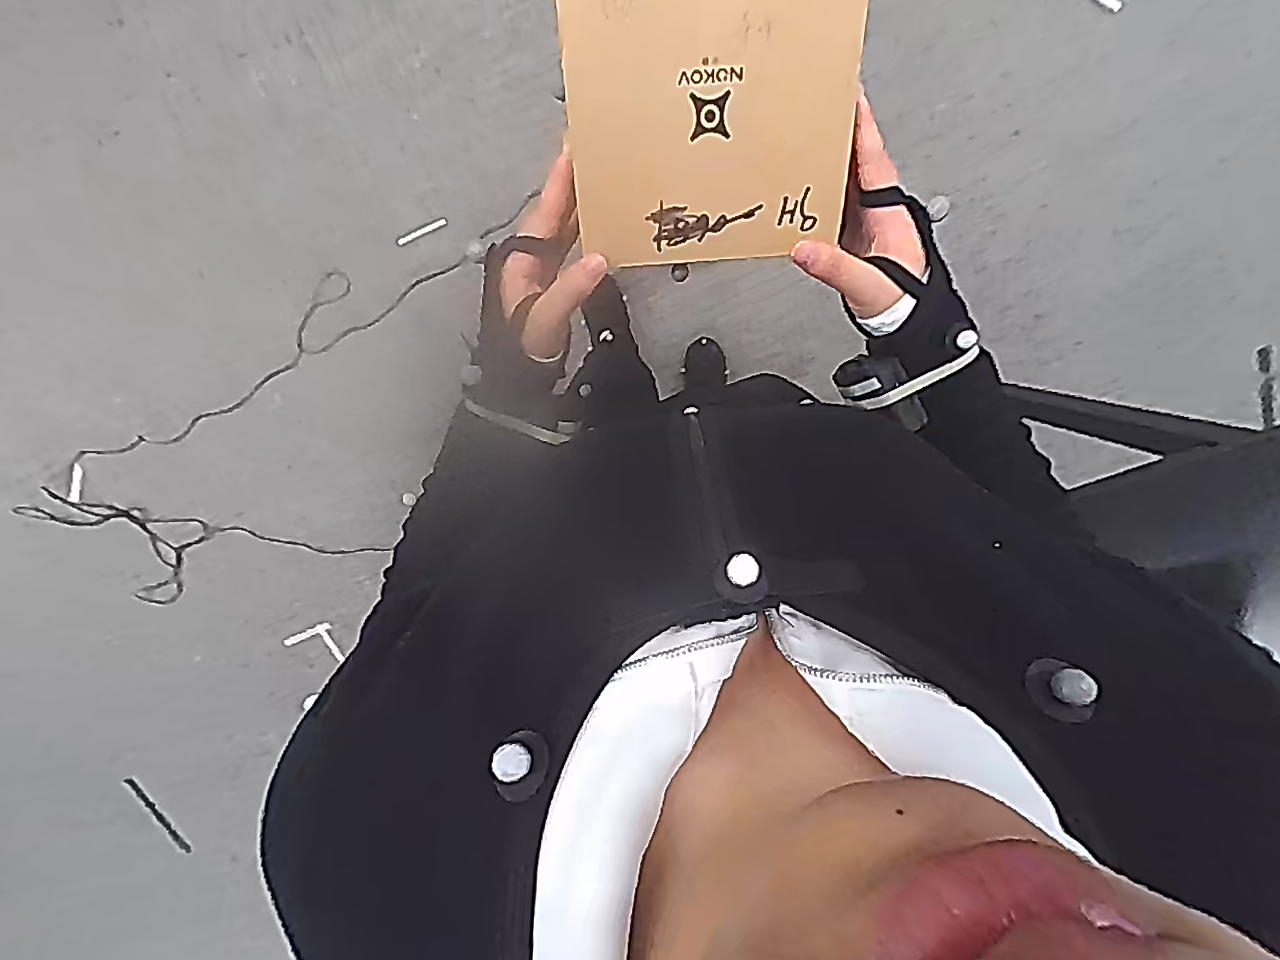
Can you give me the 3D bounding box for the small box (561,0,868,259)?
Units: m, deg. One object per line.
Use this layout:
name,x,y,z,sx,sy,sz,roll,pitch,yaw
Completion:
small box,0.038,-0.259,0.372,0.168,0.176,0.179,-4,119,0
